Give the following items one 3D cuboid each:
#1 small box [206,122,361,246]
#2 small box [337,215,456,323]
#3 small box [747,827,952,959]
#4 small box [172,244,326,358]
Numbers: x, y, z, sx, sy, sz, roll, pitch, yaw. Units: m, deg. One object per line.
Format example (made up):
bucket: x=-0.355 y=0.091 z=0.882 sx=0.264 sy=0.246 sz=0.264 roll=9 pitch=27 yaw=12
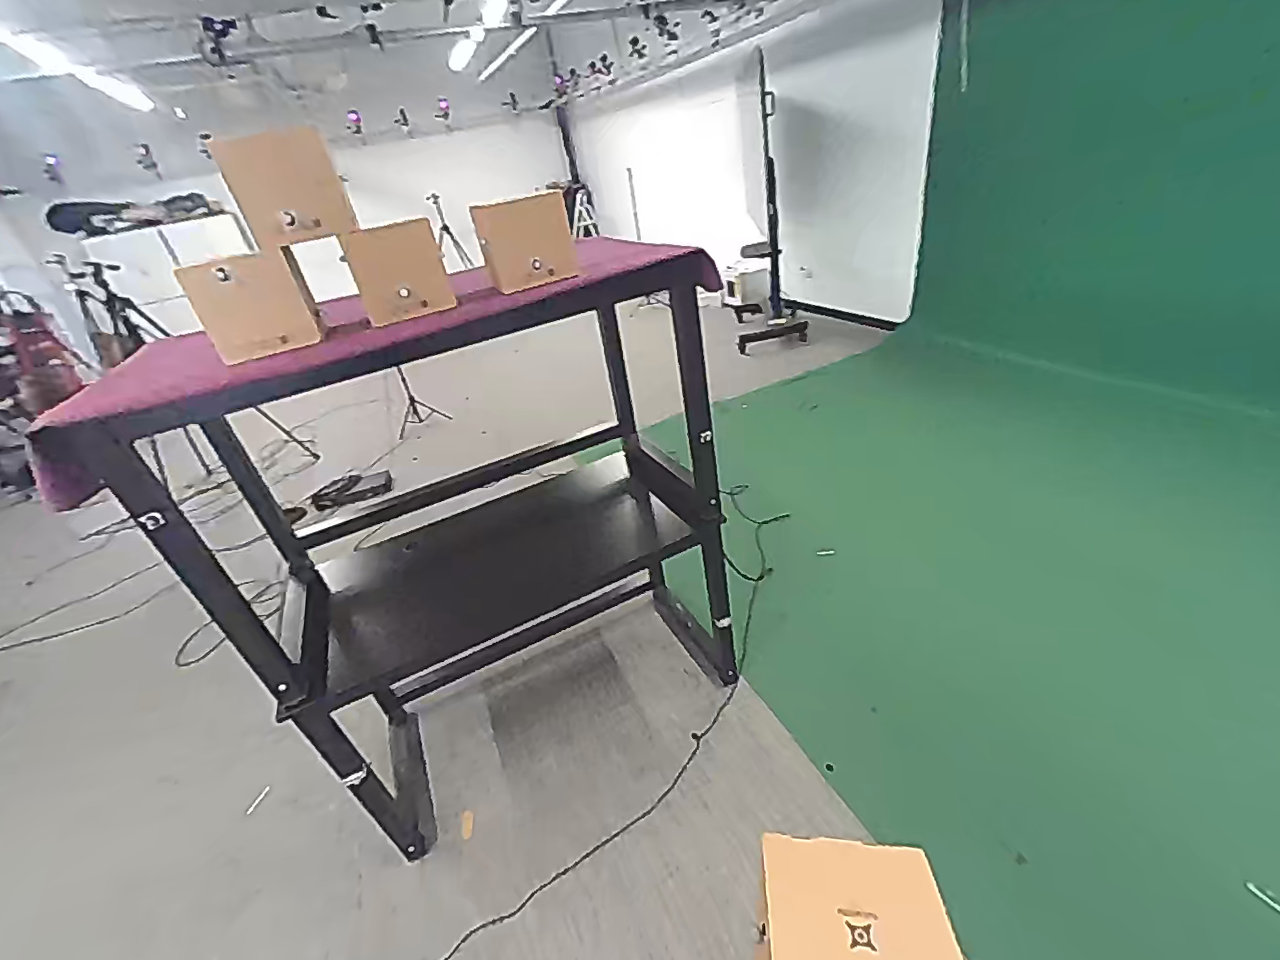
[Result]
small box: x=-0.620 y=-0.522 z=0.969 sx=0.168 sy=0.176 sz=0.179 roll=-20 pitch=32 yaw=-15
small box: x=-0.484 y=-0.423 z=1.084 sx=0.168 sy=0.176 sz=0.179 roll=-21 pitch=32 yaw=-17
small box: x=0.190 y=0.476 z=0.512 sx=0.168 sy=0.176 sz=0.179 roll=1 pitch=18 yaw=8
small box: x=-0.709 y=-0.336 z=1.007 sx=0.168 sy=0.176 sz=0.179 roll=-22 pitch=31 yaw=-18
